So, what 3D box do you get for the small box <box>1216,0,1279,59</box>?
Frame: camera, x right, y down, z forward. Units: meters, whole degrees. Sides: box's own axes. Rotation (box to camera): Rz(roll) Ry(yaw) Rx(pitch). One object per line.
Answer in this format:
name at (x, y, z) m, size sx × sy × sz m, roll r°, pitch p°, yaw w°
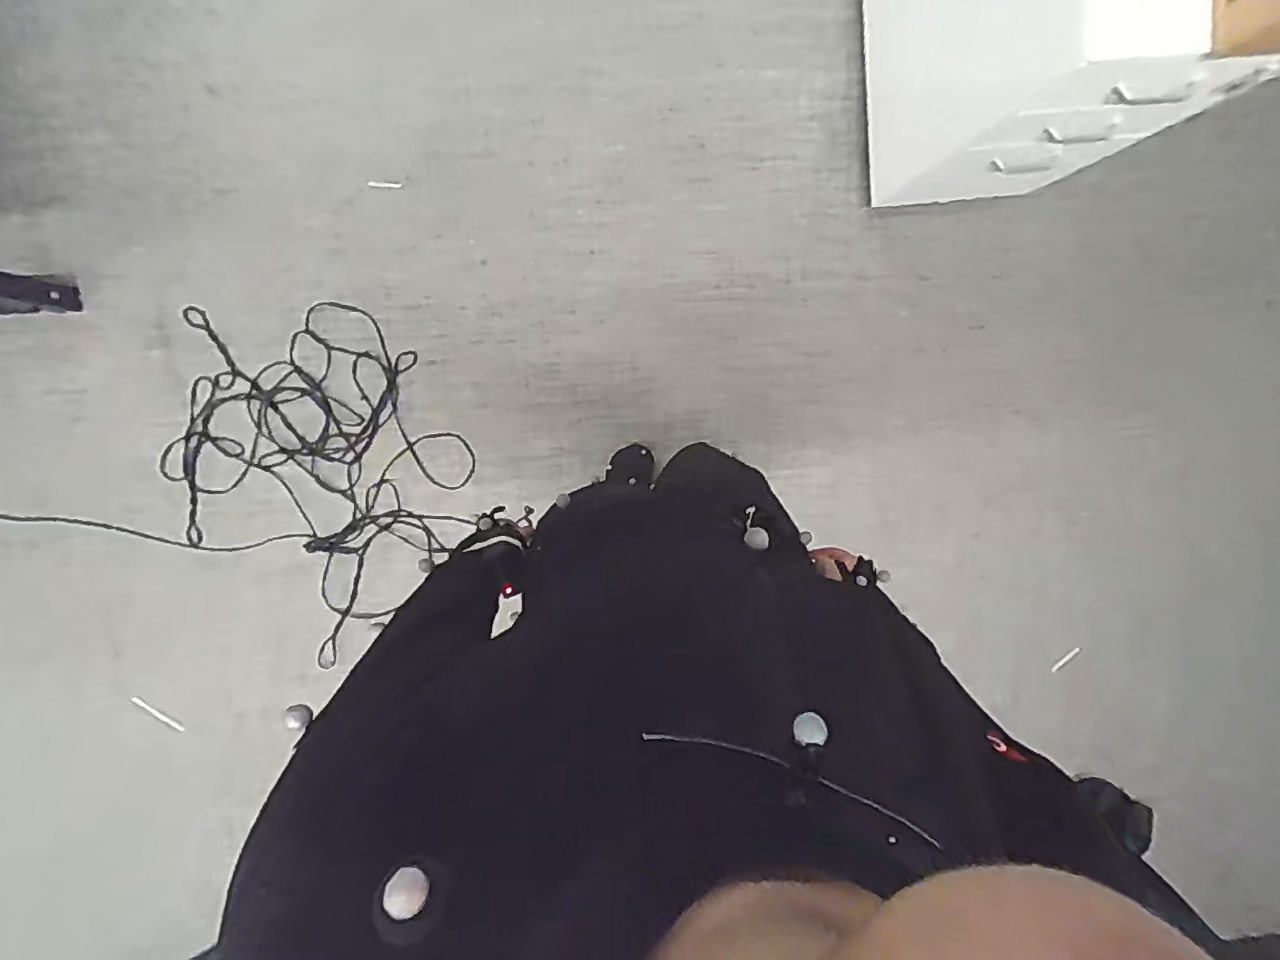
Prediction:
small box at (0.864, -0.649, 0.654) m, size 0.179 × 0.176 × 0.168 m, roll -7°, pitch 99°, yaw -5°
